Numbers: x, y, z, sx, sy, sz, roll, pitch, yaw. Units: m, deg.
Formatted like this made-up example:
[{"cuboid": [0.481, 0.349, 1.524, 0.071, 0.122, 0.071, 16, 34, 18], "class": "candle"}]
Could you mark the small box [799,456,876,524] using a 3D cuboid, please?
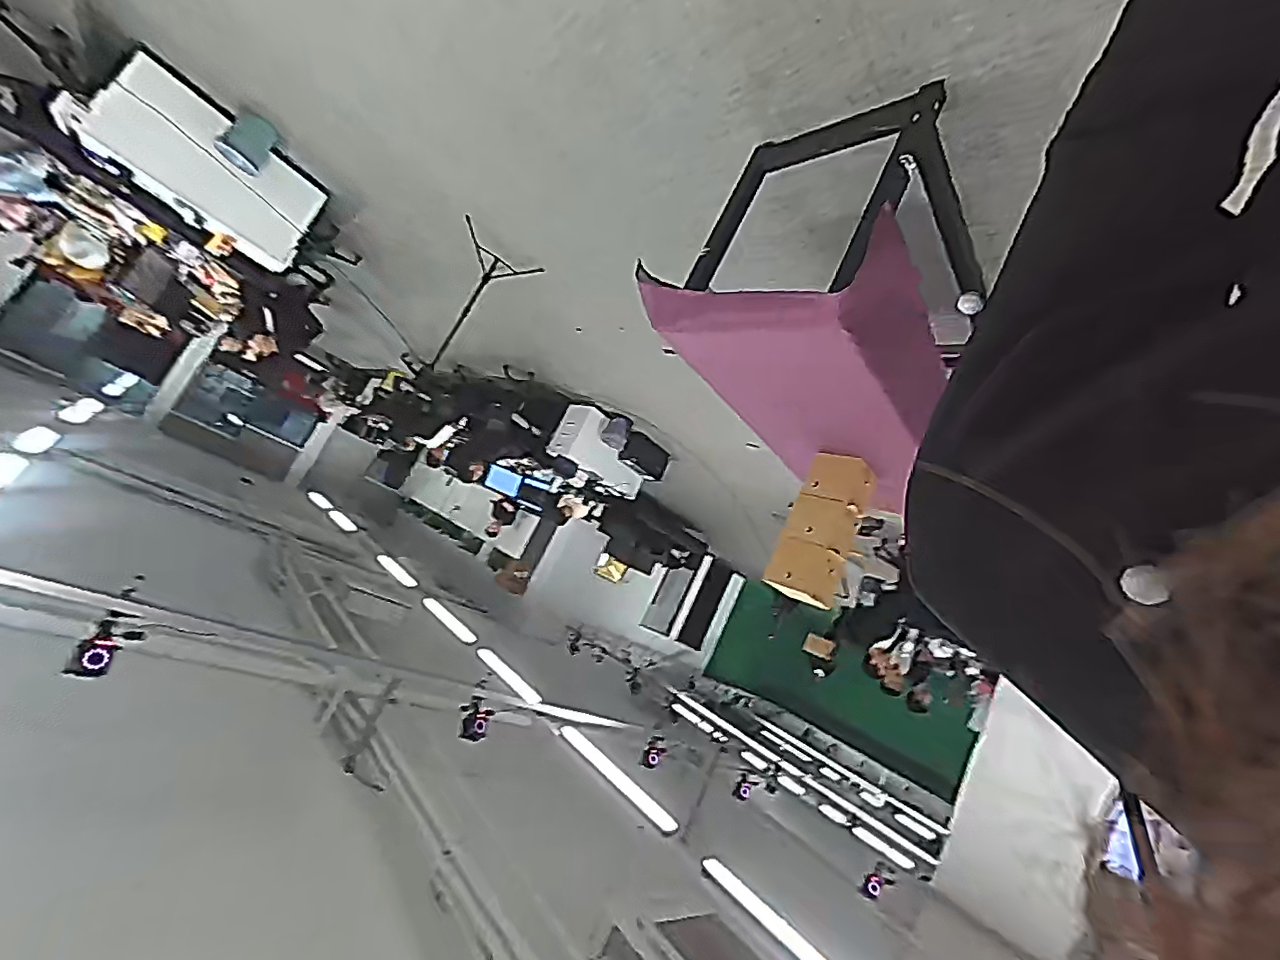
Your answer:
[{"cuboid": [0.695, 0.030, 1.898, 0.179, 0.176, 0.168, 15, 164, 47], "class": "small box"}]

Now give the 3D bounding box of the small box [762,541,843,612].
[{"cuboid": [0.557, 0.324, 1.851, 0.168, 0.176, 0.179, 34, 167, -32], "class": "small box"}]

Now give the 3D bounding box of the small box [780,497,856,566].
[{"cuboid": [0.622, 0.175, 1.869, 0.168, 0.176, 0.179, 35, 167, -36], "class": "small box"}]
